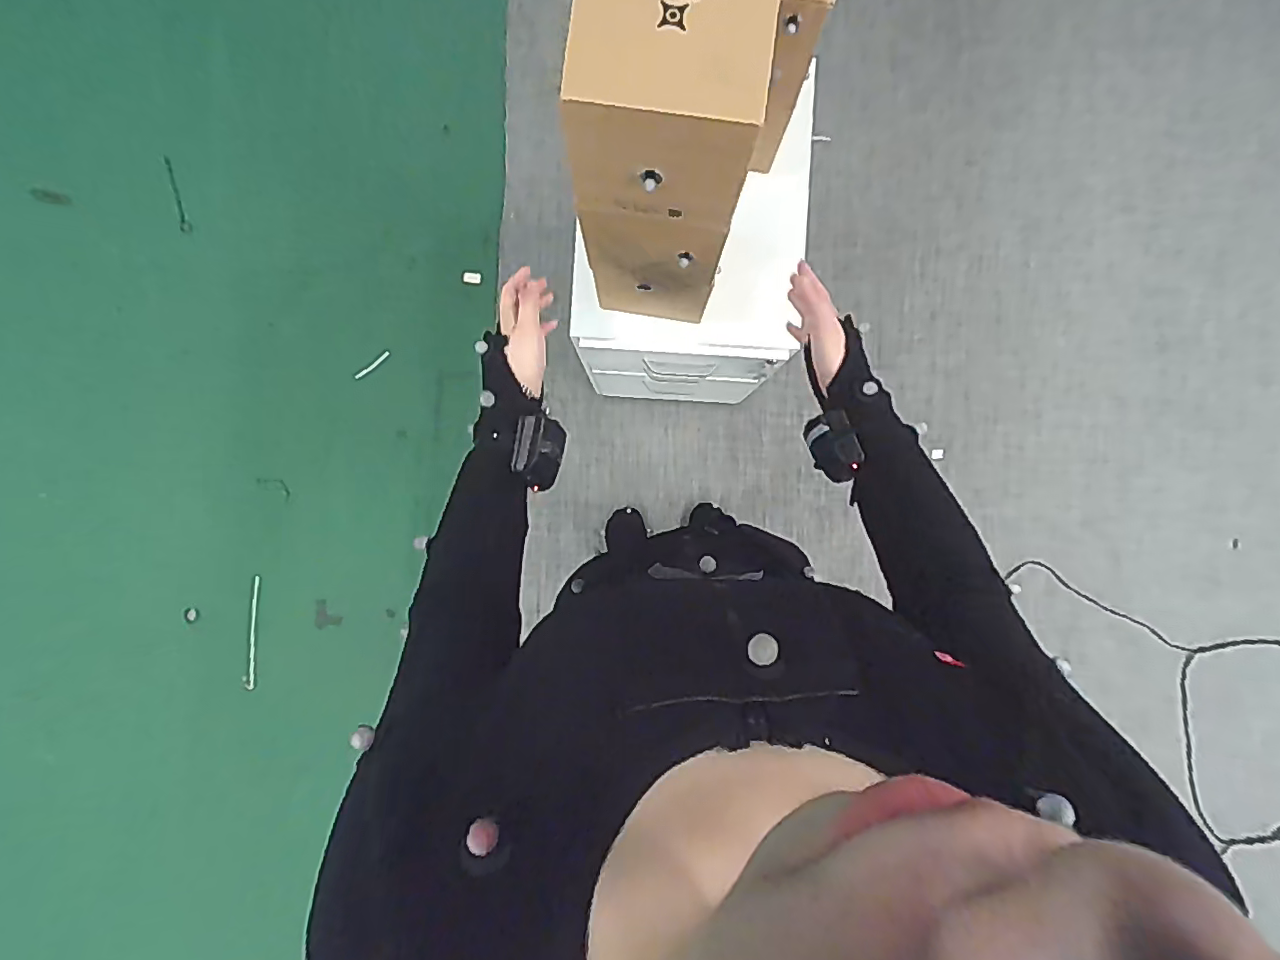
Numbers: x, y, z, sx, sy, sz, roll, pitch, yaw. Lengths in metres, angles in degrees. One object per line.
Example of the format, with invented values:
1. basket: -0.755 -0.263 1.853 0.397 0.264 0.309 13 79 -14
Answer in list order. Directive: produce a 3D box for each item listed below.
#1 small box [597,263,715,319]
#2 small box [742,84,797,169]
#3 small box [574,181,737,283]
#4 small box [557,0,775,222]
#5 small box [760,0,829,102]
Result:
1. small box: 0.028 -0.364 0.840 0.179 0.176 0.168 9 88 -1
2. small box: 0.148 -0.621 0.846 0.179 0.176 0.168 11 90 1
3. small box: 0.025 -0.366 0.678 0.179 0.176 0.168 9 87 1
4. small box: 0.025 -0.375 0.513 0.168 0.176 0.179 8 87 -1
5. small box: 0.142 -0.621 0.683 0.179 0.176 0.168 10 89 0
